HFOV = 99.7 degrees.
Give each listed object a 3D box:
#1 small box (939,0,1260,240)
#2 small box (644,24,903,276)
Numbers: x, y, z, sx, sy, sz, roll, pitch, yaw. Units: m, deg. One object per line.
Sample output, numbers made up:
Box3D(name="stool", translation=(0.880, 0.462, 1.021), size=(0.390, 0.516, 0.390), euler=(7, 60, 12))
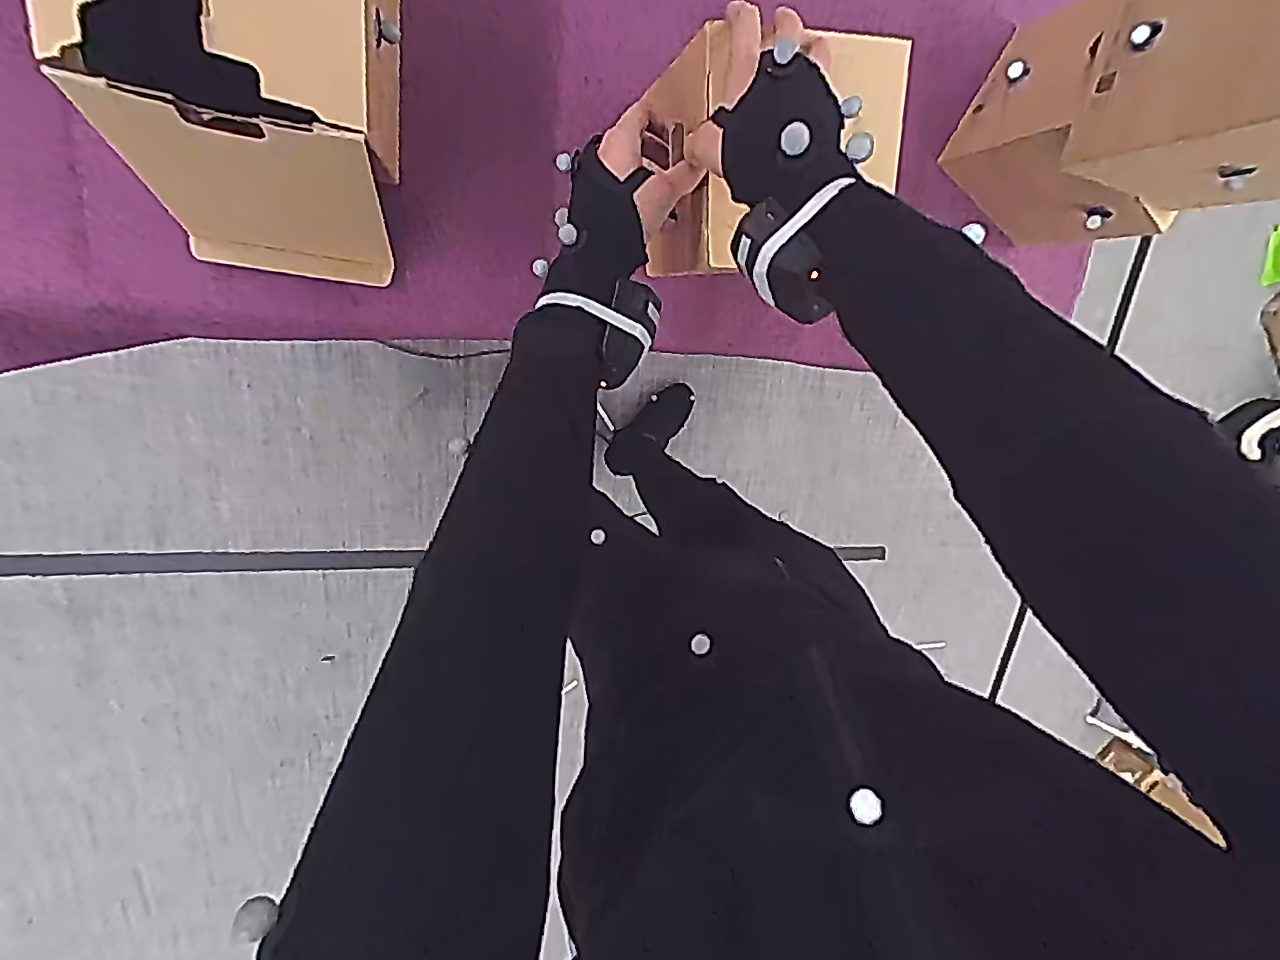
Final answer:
Box3D(name="small box", translation=(0.475, -0.380, 0.580), size=(0.179, 0.176, 0.168), euler=(27, 98, -23))
Box3D(name="small box", translation=(0.104, -0.281, 0.502), size=(0.179, 0.176, 0.168), euler=(-7, 111, -15))
